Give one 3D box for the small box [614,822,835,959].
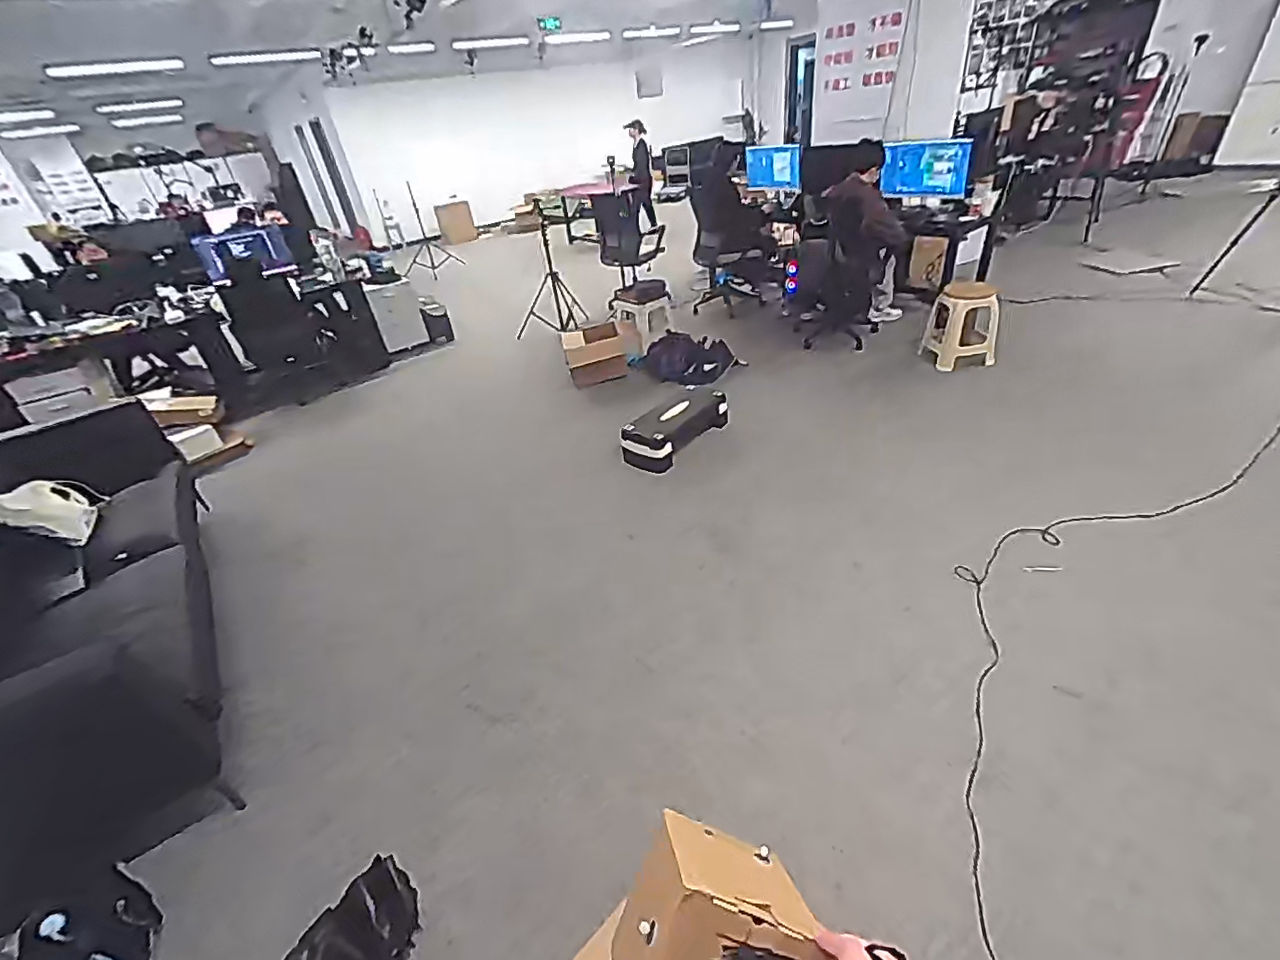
[{"bbox_3d":[0.077,0.520,0.591,0.168,0.176,0.179,25,81,-2],"label":"small box"}]
